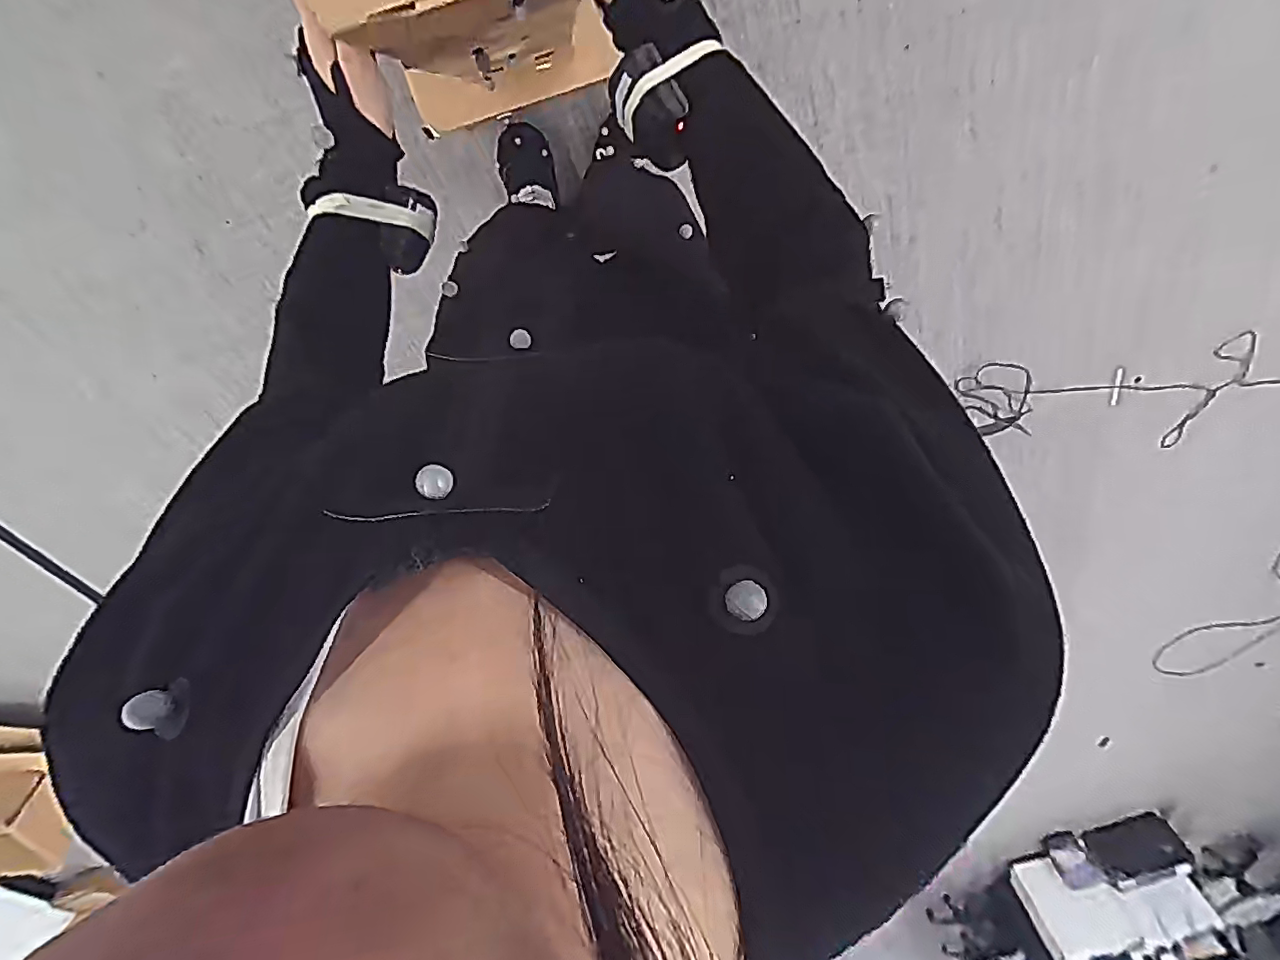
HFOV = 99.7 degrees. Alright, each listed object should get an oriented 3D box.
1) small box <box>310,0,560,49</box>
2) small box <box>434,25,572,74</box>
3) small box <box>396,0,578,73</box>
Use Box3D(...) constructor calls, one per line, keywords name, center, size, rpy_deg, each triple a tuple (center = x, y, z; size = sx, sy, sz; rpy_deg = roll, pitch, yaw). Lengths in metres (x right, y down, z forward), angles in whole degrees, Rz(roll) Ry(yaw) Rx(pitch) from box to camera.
Box3D(name="small box", center=(-0.143, -0.403, 0.342), size=(0.168, 0.176, 0.179), rpy_deg=(-17, 124, 3))
Box3D(name="small box", center=(-0.179, -0.585, 0.608), size=(0.168, 0.176, 0.179), rpy_deg=(-16, 126, 3))
Box3D(name="small box", center=(-0.157, -0.490, 0.478), size=(0.168, 0.176, 0.179), rpy_deg=(-17, 125, 5))
